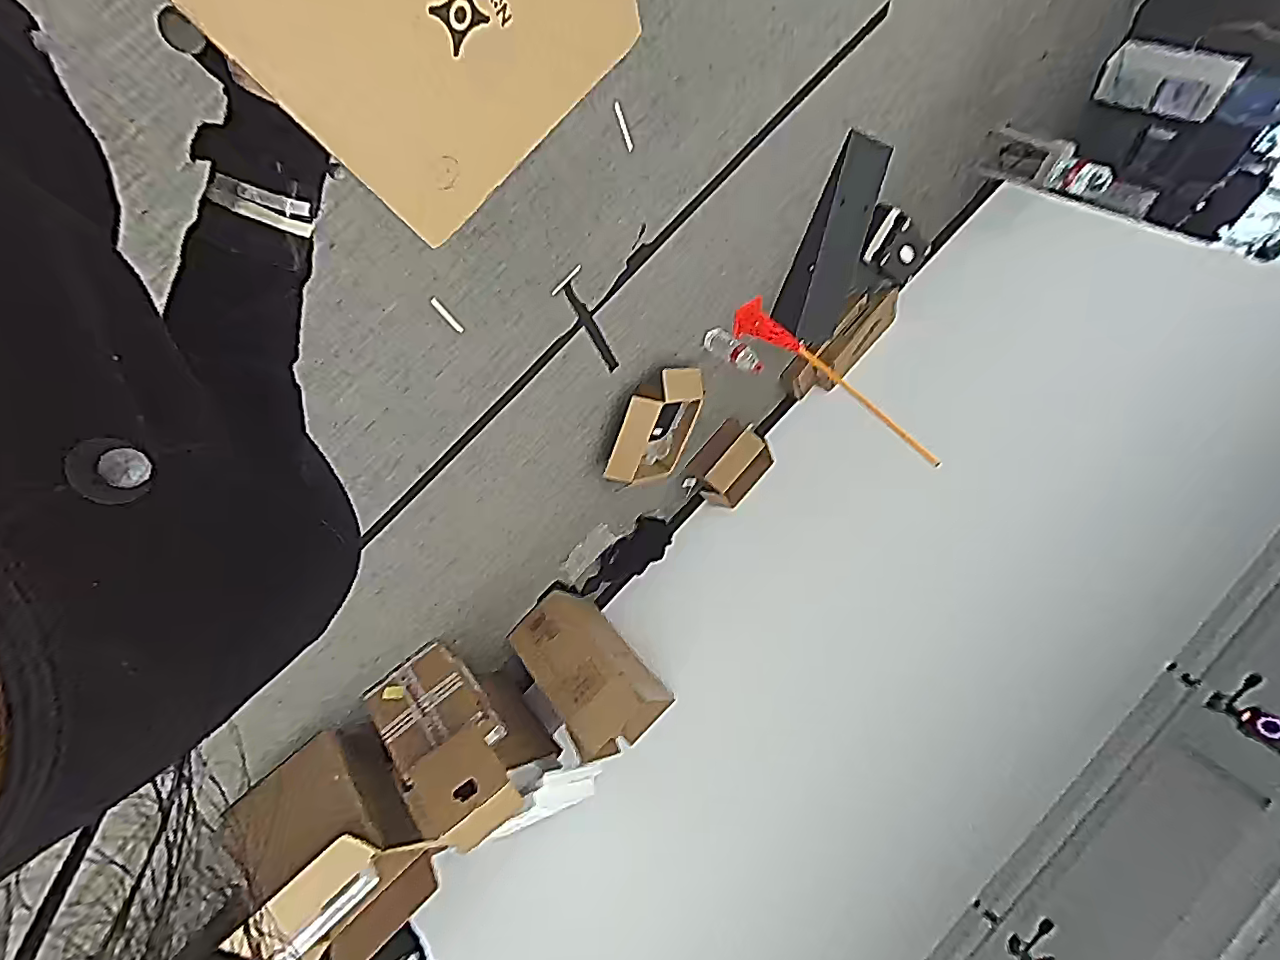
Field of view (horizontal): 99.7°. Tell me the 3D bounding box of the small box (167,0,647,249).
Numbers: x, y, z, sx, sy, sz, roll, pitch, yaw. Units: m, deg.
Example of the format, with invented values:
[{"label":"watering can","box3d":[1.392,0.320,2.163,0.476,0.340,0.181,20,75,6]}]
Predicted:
[{"label":"small box","box3d":[-0.126,-0.259,0.251,0.179,0.176,0.168,-46,169,3]}]
